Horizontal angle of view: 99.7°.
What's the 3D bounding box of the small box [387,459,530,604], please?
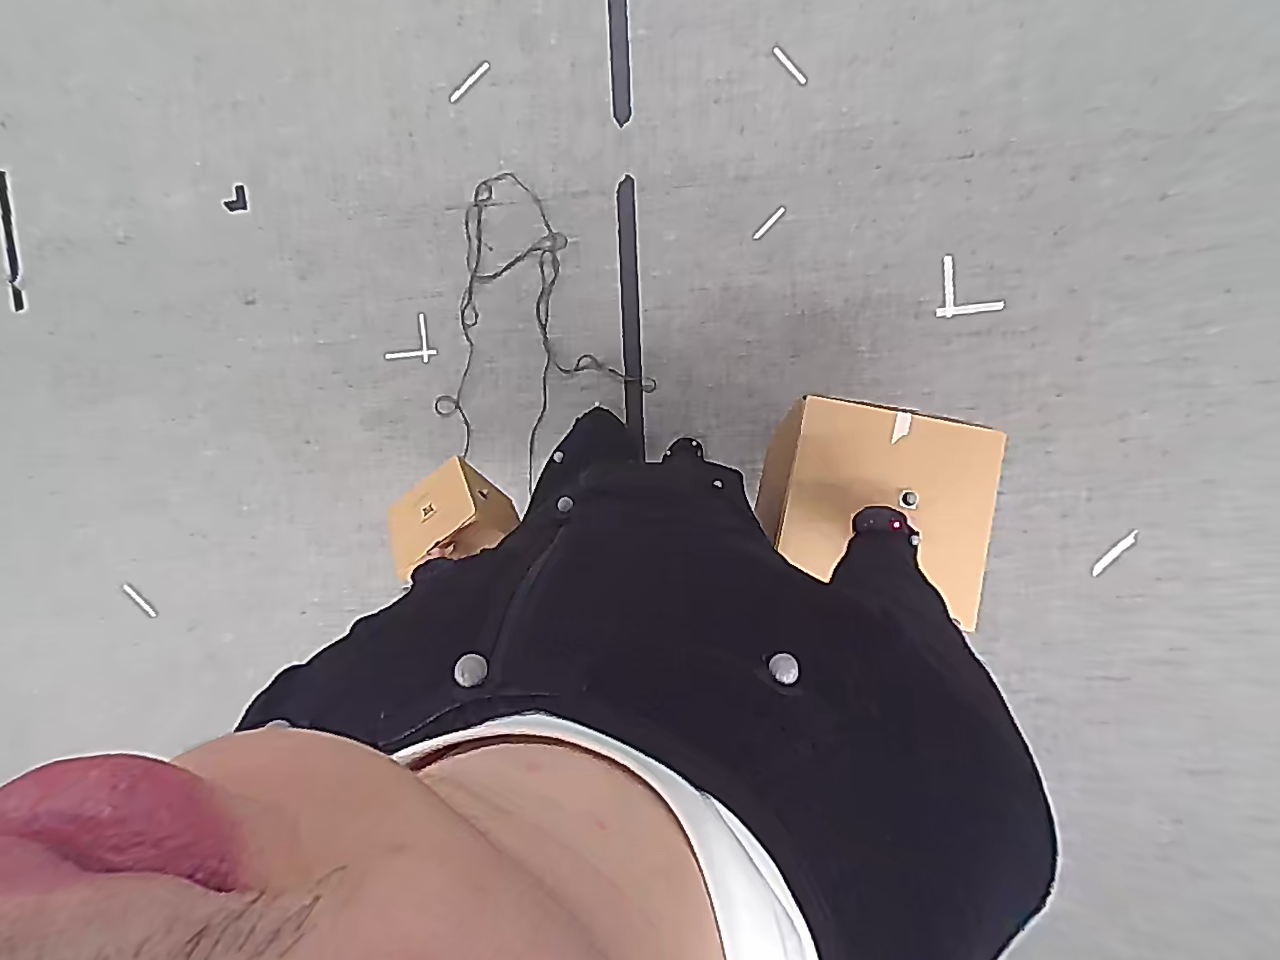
[{"bbox_3d":[-0.325,0.102,0.982,0.168,0.179,0.176,-37,136,0],"label":"small box"}]
